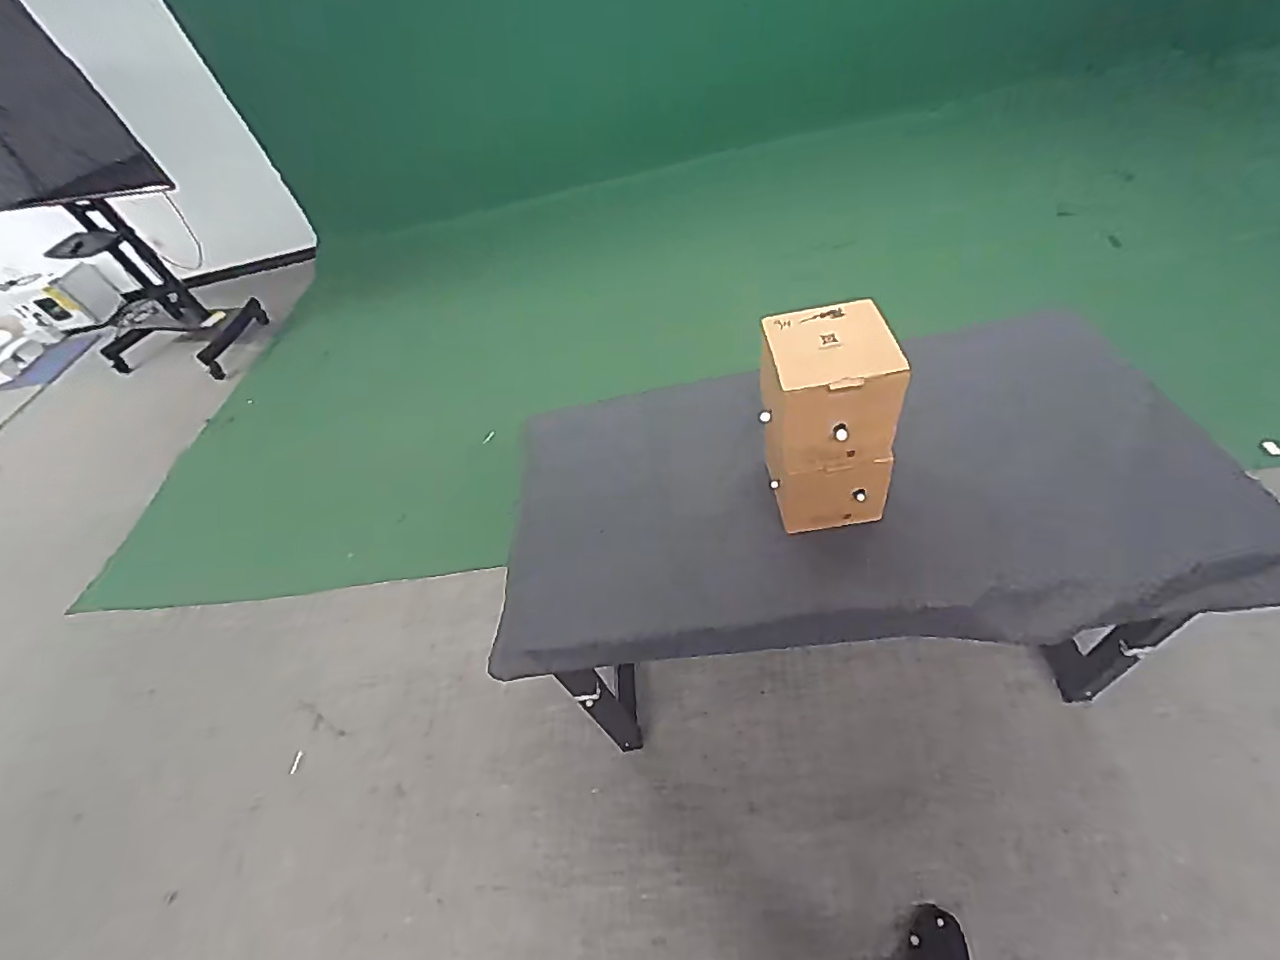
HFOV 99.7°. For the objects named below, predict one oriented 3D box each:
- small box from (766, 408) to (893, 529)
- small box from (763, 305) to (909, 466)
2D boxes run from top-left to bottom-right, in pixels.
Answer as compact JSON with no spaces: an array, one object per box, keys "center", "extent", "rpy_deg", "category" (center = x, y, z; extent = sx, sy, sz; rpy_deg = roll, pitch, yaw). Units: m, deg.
[{"center":[0.321,-0.028,0.946],"extent":[0.168,0.176,0.179],"rpy_deg":[-9,48,6],"category":"small box"},{"center":[0.286,-0.135,0.827],"extent":[0.168,0.176,0.179],"rpy_deg":[-8,50,7],"category":"small box"}]
